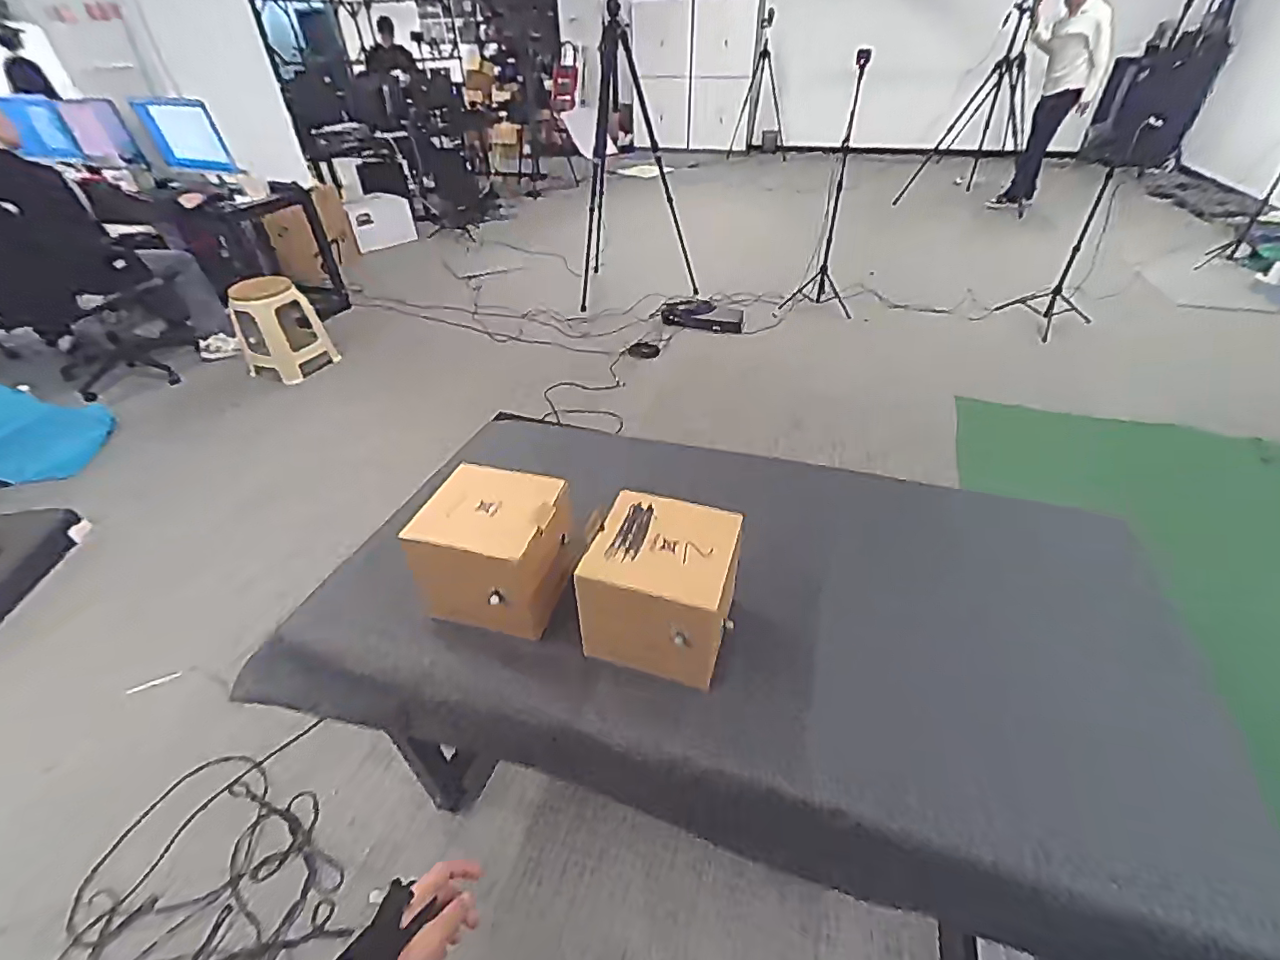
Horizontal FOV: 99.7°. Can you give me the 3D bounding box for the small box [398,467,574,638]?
[{"bbox_3d":[-0.206,0.105,0.784,0.179,0.176,0.168,8,38,12],"label":"small box"}]
